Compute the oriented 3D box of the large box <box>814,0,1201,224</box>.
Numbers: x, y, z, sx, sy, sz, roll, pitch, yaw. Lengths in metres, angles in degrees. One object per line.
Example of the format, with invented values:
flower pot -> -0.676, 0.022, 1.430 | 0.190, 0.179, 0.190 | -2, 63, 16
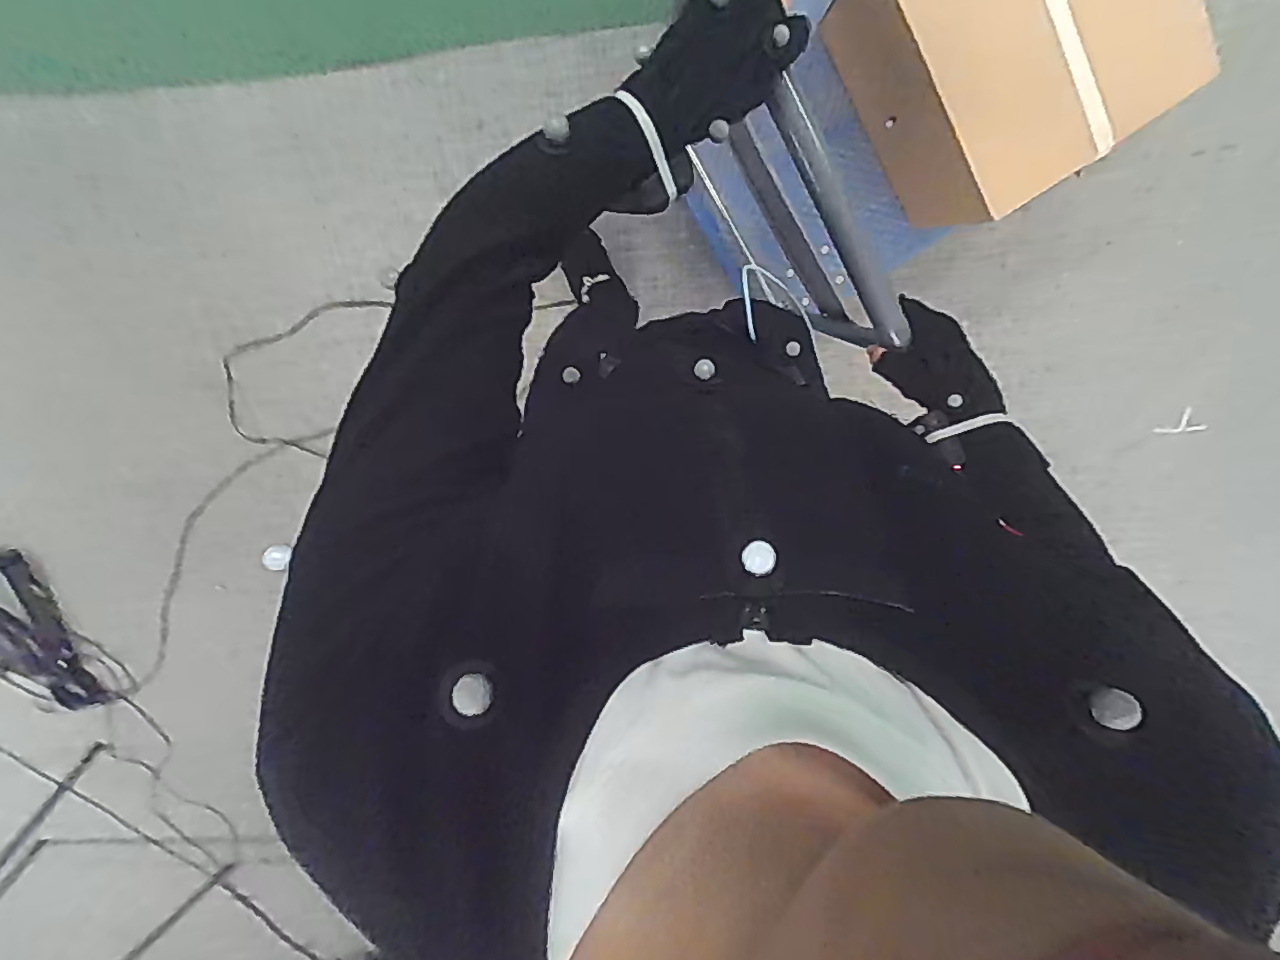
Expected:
large box -> 0.540, -0.683, 0.862 | 0.320, 0.320, 0.408 | -34, 107, 15
